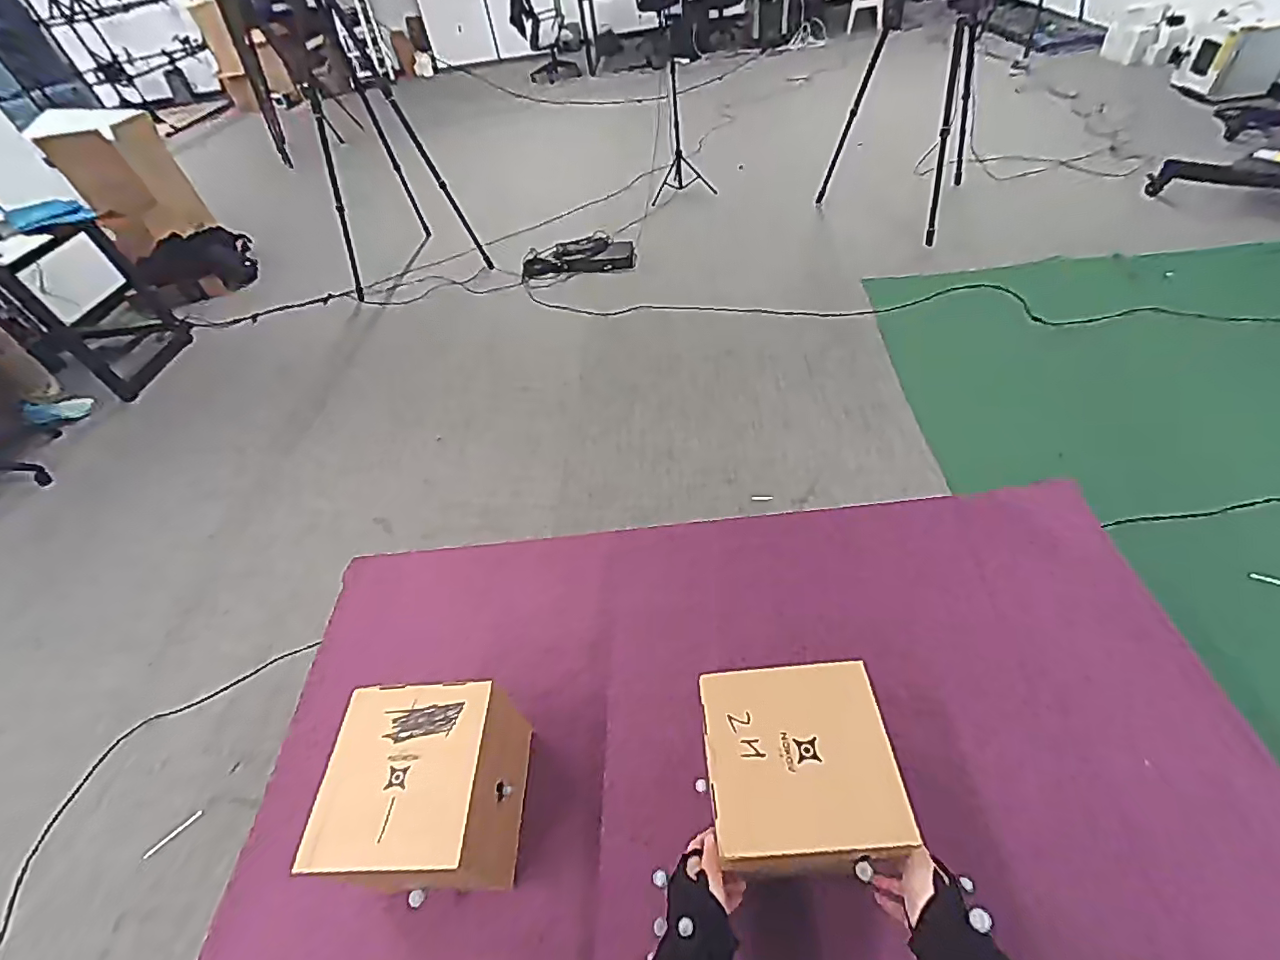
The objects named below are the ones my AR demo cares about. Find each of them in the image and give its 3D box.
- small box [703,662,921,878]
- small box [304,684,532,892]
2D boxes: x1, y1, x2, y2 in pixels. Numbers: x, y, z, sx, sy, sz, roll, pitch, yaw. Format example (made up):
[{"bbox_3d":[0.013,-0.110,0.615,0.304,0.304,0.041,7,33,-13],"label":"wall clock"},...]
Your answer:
[{"bbox_3d":[0.166,0.315,0.582,0.179,0.176,0.168,-7,47,5],"label":"small box"},{"bbox_3d":[-0.230,0.354,0.619,0.168,0.176,0.179,-5,48,6],"label":"small box"}]
